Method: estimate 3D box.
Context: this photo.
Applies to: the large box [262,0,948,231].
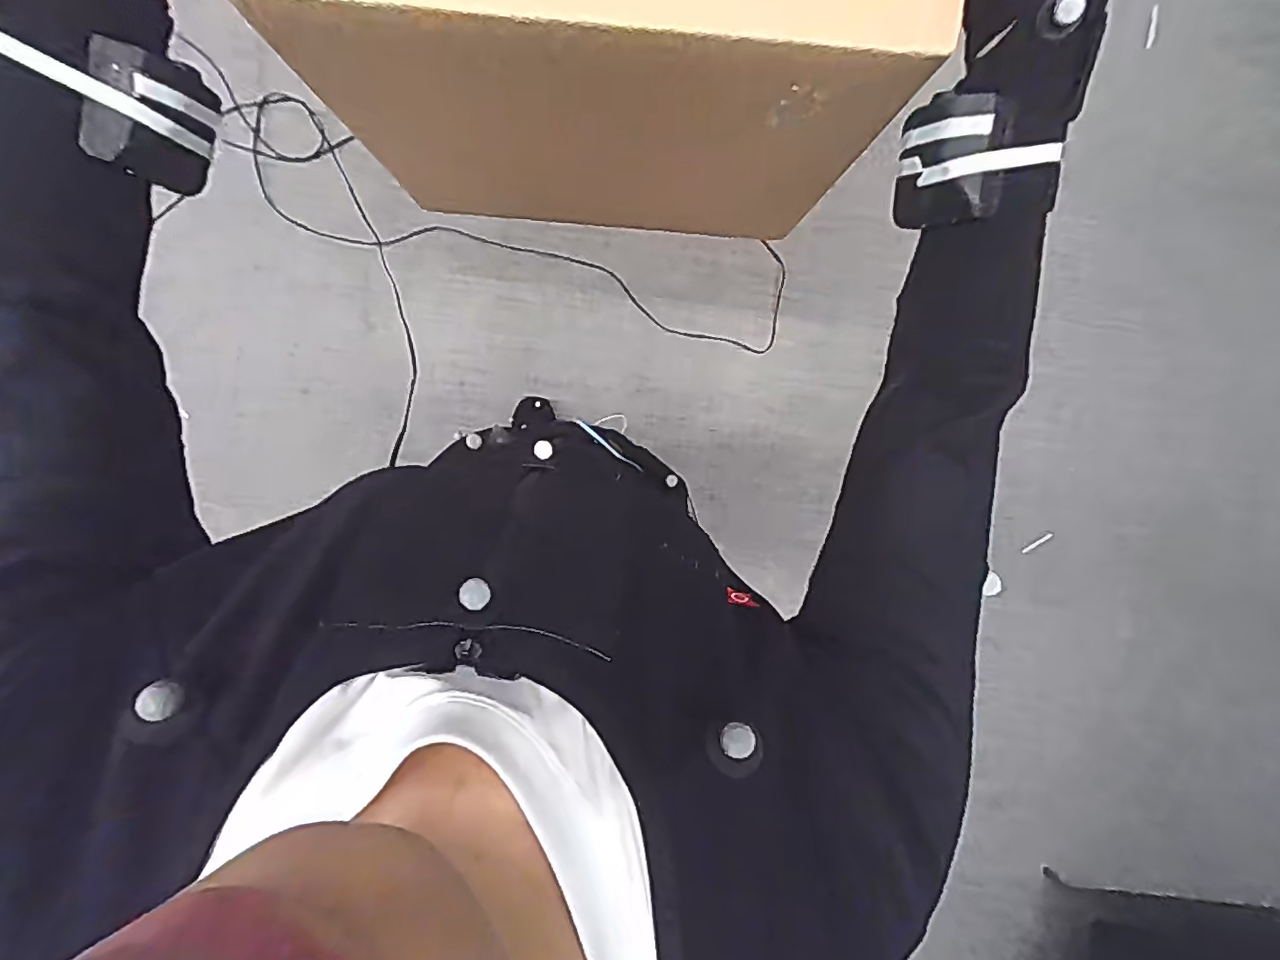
[{"bbox_3d":[-0.024,-0.423,0.438,0.408,0.320,0.320,3,96,-4],"label":"large box"}]
